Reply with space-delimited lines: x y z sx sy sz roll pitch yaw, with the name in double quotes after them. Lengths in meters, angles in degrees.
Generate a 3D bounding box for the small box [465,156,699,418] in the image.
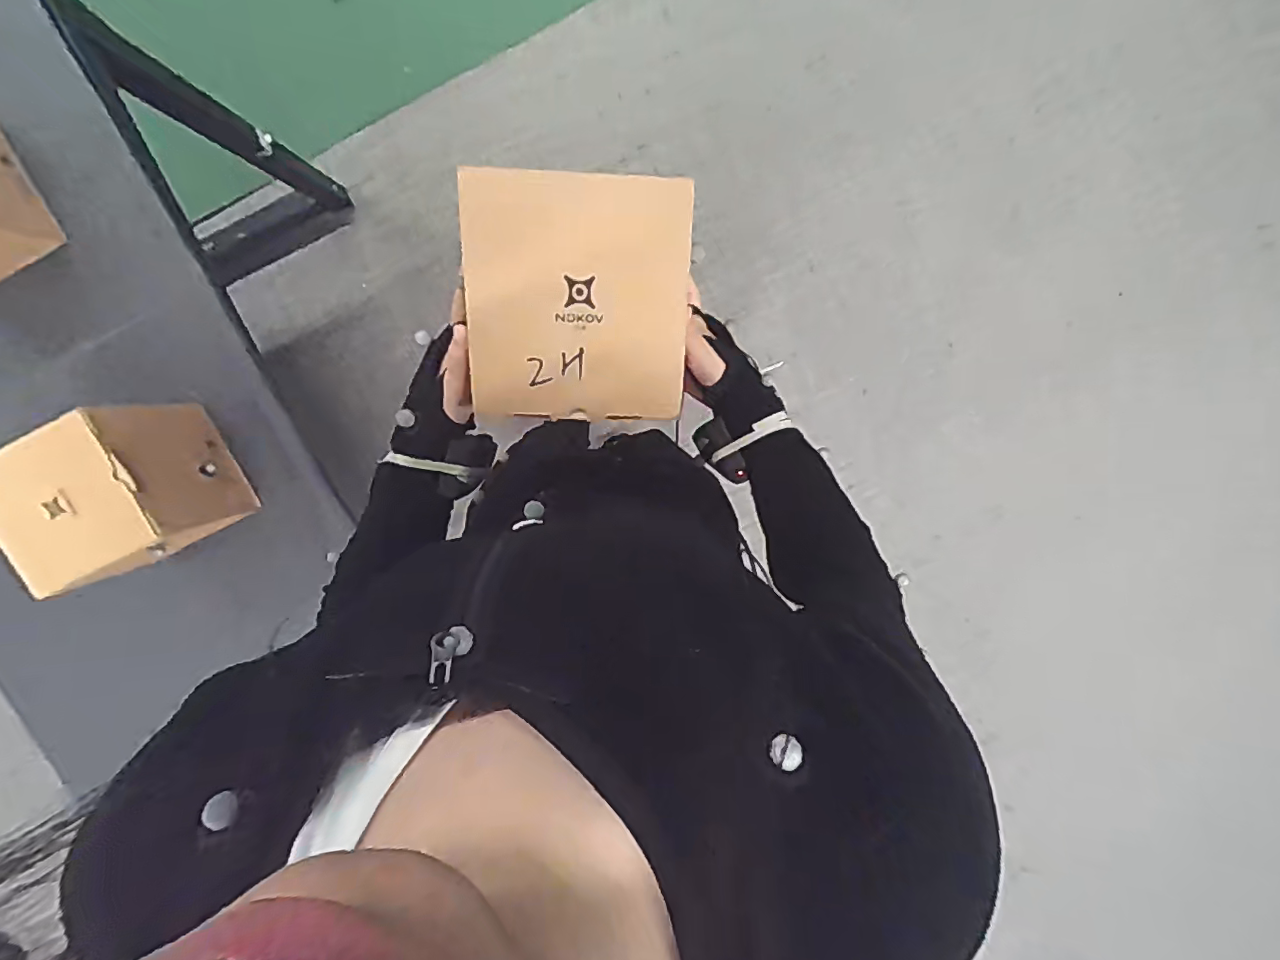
-0.050 -0.158 0.473 0.168 0.176 0.179 2 109 -5 "small box"

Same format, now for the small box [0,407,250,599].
-0.656 0.019 0.682 0.179 0.176 0.168 -26 98 3 "small box"
